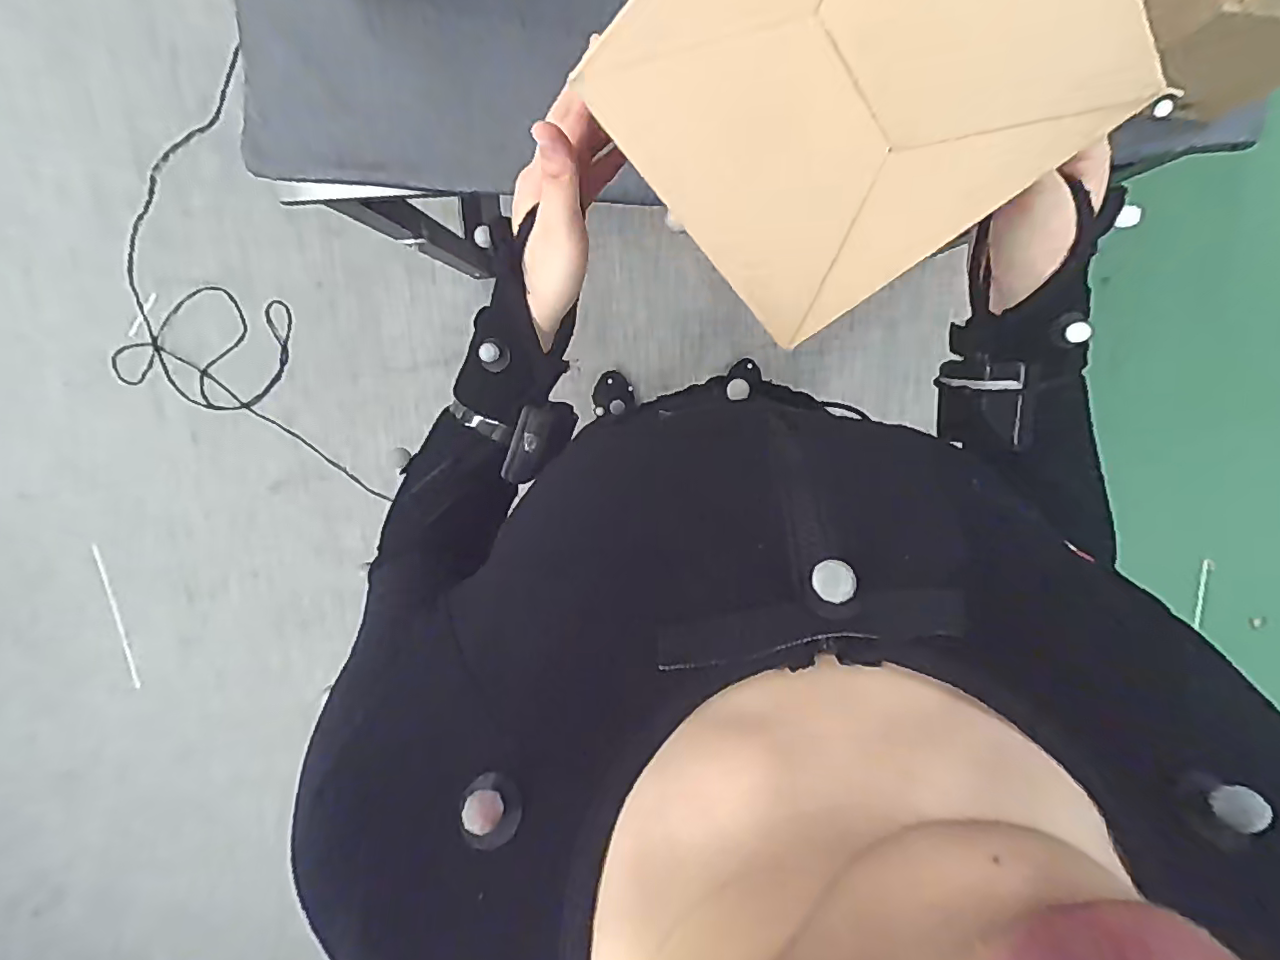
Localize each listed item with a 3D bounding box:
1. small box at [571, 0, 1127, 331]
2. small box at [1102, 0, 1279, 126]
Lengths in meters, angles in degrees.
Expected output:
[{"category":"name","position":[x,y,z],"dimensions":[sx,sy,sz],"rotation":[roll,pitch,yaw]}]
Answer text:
[{"category":"small box","position":[0.090,-0.211,0.279],"dimensions":[0.179,0.176,0.168],"rotation":[-33,119,31]},{"category":"small box","position":[0.606,-0.500,0.546],"dimensions":[0.168,0.176,0.179],"rotation":[7,99,2]}]
